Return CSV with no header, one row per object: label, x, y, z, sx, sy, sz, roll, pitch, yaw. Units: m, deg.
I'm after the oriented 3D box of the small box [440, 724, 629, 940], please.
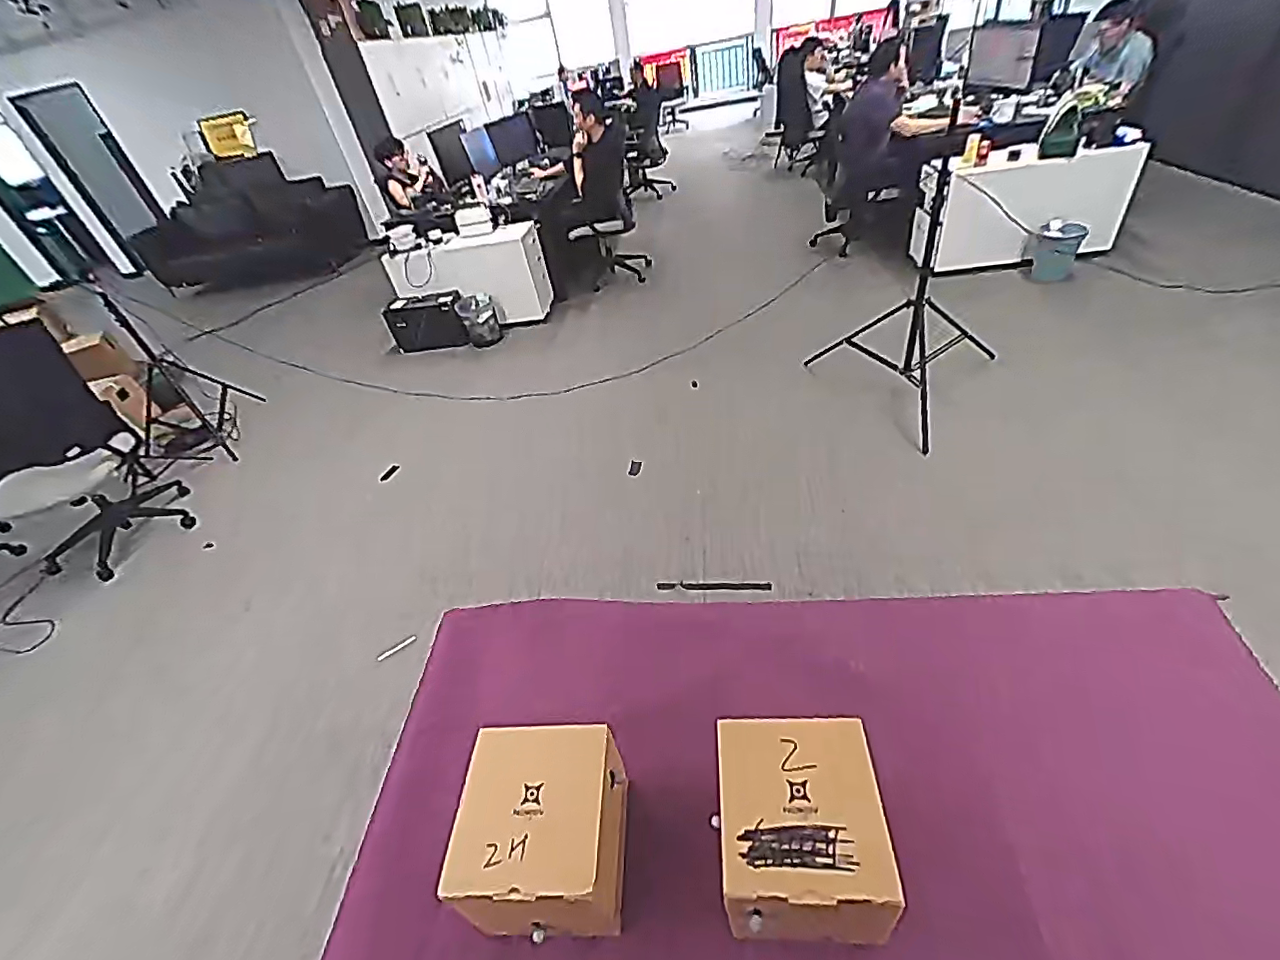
small box,-0.108,0.418,0.648,0.168,0.176,0.179,-5,40,7
